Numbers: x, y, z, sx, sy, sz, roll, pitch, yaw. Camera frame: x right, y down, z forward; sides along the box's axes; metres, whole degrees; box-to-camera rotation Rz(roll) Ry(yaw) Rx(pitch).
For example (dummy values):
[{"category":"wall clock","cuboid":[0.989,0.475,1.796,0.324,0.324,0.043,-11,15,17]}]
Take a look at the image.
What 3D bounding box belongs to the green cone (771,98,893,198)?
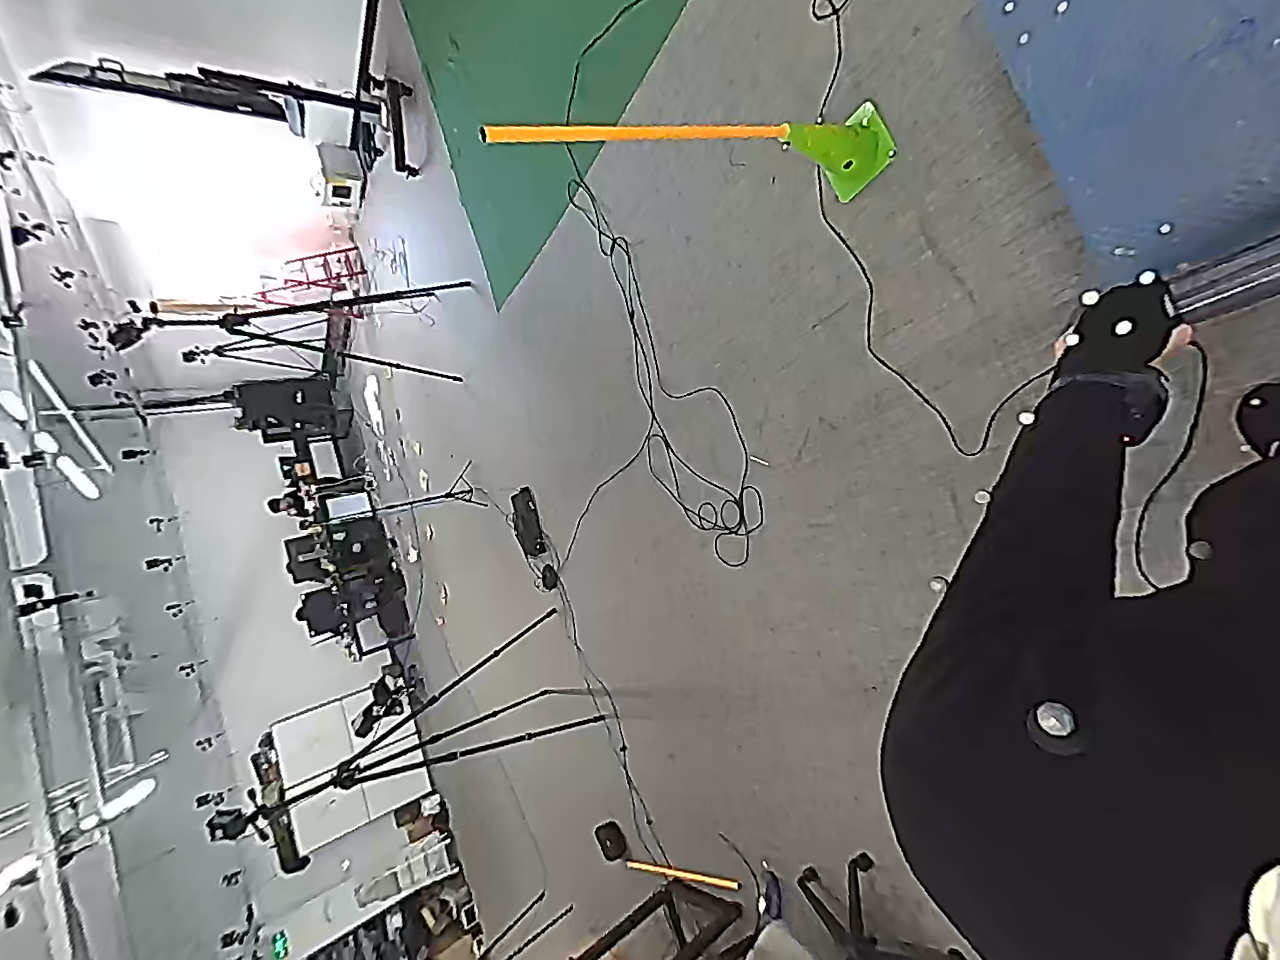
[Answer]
[{"category":"green cone","cuboid":[0.506,-0.962,1.529,0.202,0.368,0.200,-37,71,53]}]
